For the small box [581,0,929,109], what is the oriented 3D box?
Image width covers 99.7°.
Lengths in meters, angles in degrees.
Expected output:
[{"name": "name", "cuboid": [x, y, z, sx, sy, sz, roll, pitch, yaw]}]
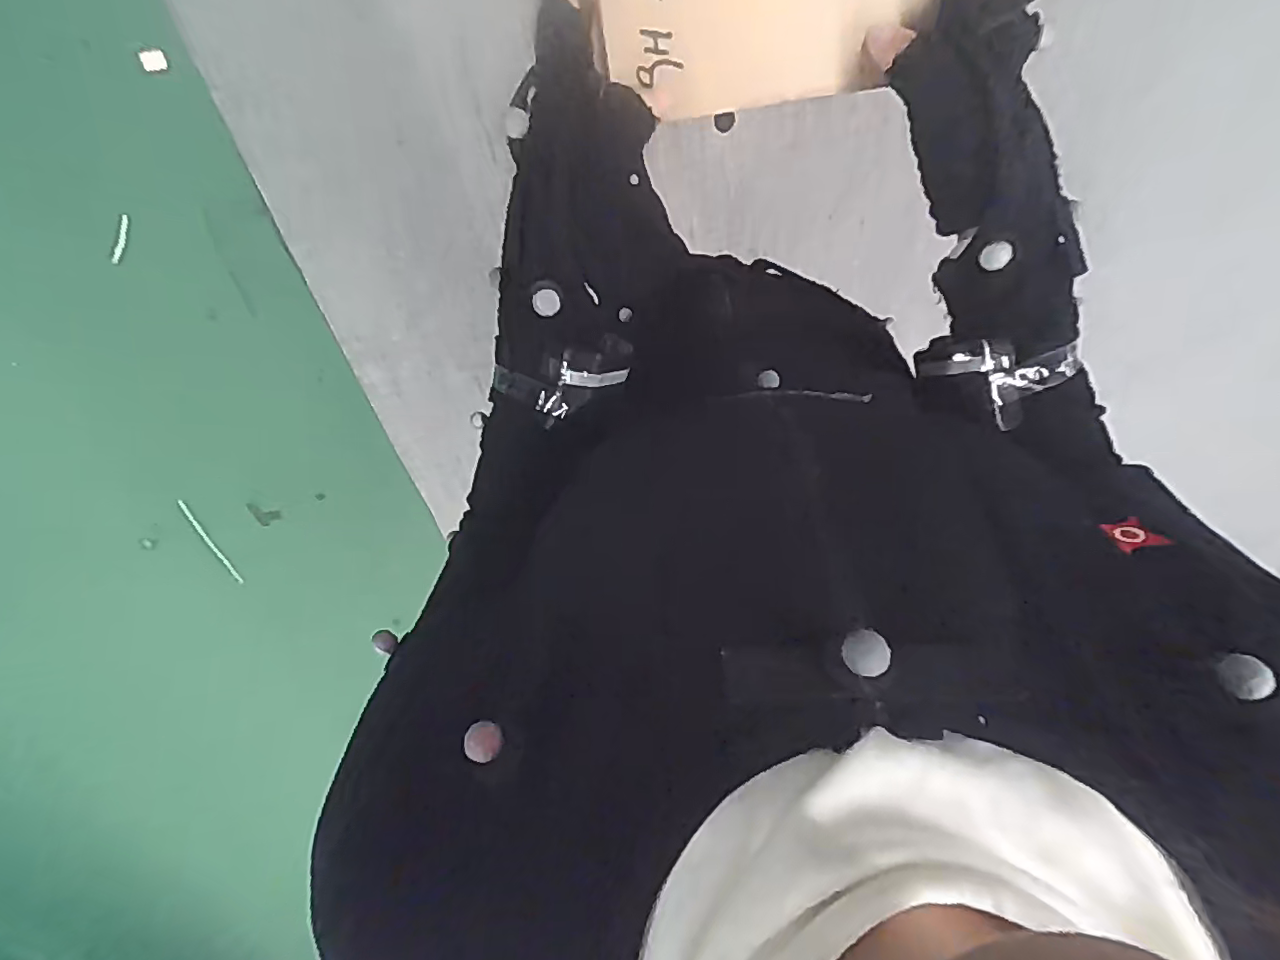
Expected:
[{"name": "small box", "cuboid": [0.050, -0.325, 0.312, 0.179, 0.176, 0.168, -8, 125, 0]}]
